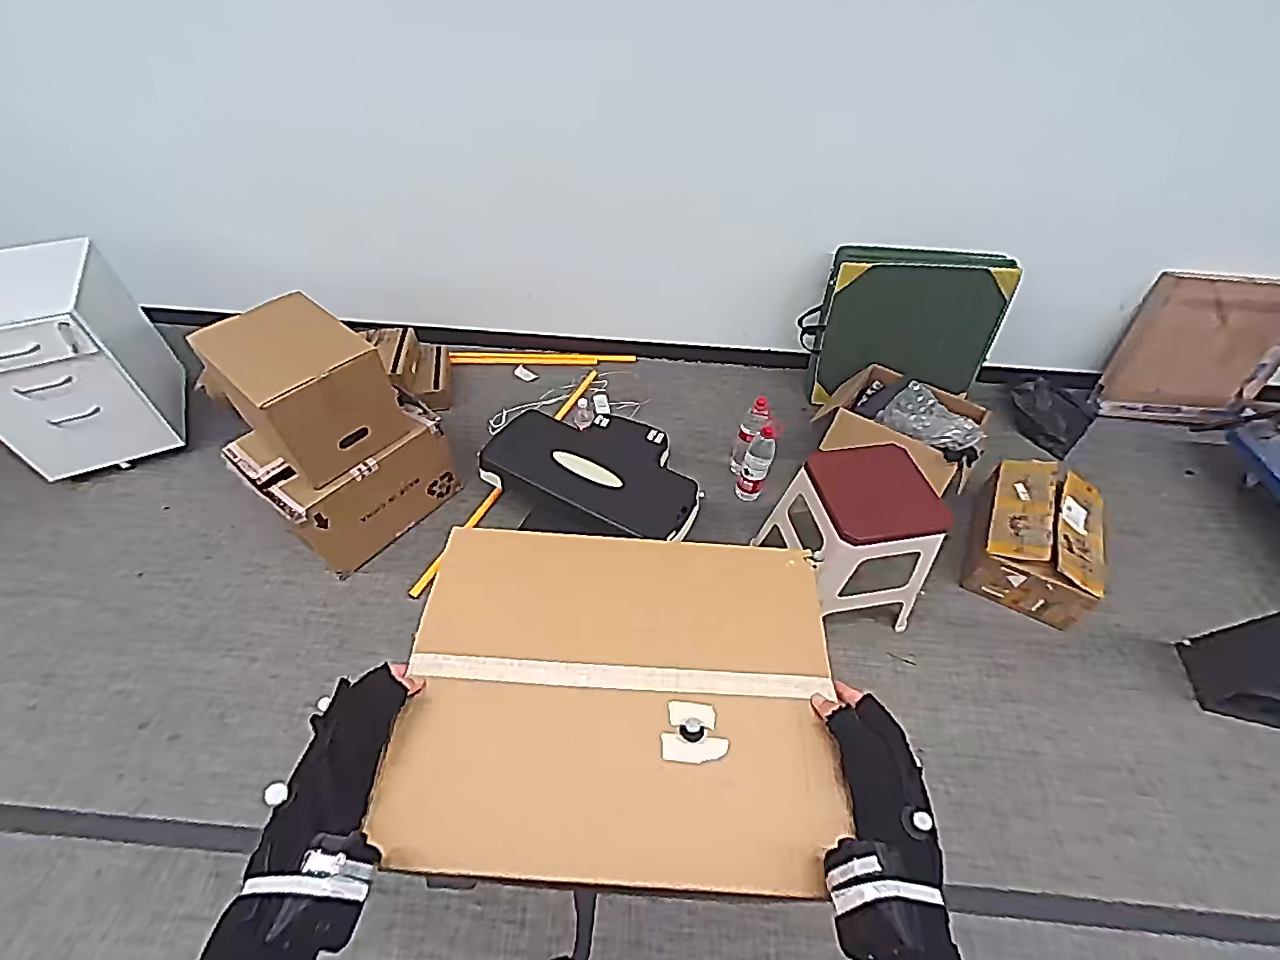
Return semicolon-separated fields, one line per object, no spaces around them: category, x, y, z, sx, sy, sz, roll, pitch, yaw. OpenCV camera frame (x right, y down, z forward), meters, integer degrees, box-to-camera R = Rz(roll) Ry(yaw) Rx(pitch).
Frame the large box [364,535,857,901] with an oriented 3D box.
large box;-0.025;0.287;0.636;0.408;0.320;0.320;5;52;0
